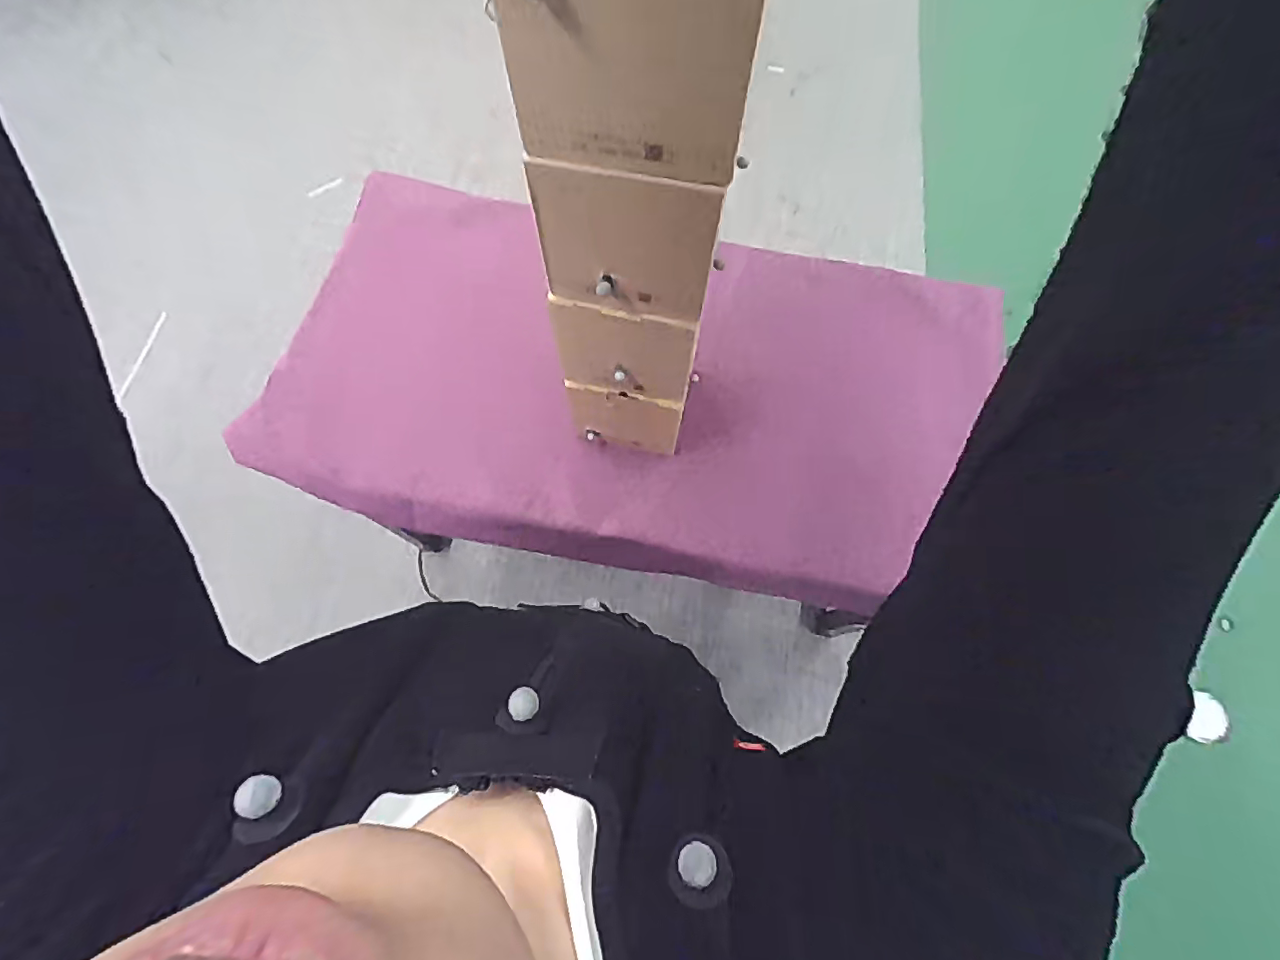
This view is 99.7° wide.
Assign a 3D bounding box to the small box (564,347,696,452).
[{"bbox_3d":[-0.007,-0.162,0.833,0.168,0.176,0.179,12,69,3],"label":"small box"}]

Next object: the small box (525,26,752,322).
[{"bbox_3d":[0.002,-0.289,0.532,0.168,0.176,0.179,11,70,4],"label":"small box"}]

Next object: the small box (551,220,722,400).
[{"bbox_3d":[-0.003,-0.228,0.682,0.168,0.176,0.179,12,70,4],"label":"small box"}]
